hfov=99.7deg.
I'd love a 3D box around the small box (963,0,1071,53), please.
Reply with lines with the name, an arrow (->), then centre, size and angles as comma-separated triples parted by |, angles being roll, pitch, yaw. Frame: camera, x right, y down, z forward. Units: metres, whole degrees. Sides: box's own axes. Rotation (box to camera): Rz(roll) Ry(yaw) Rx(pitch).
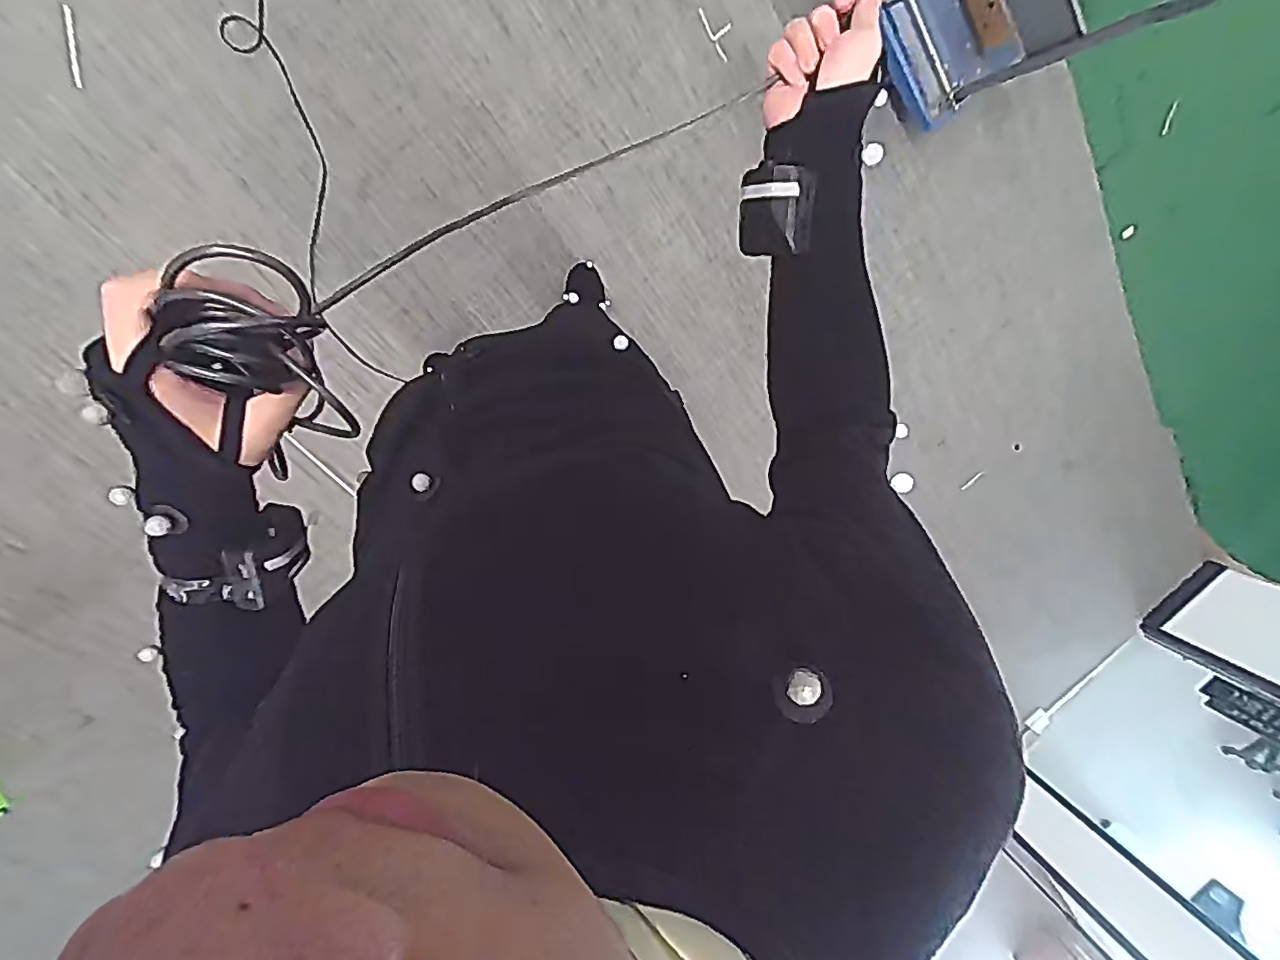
small box -> 0.947, -1.216, 1.332 | 0.179, 0.176, 0.168 | -41, 114, 0
